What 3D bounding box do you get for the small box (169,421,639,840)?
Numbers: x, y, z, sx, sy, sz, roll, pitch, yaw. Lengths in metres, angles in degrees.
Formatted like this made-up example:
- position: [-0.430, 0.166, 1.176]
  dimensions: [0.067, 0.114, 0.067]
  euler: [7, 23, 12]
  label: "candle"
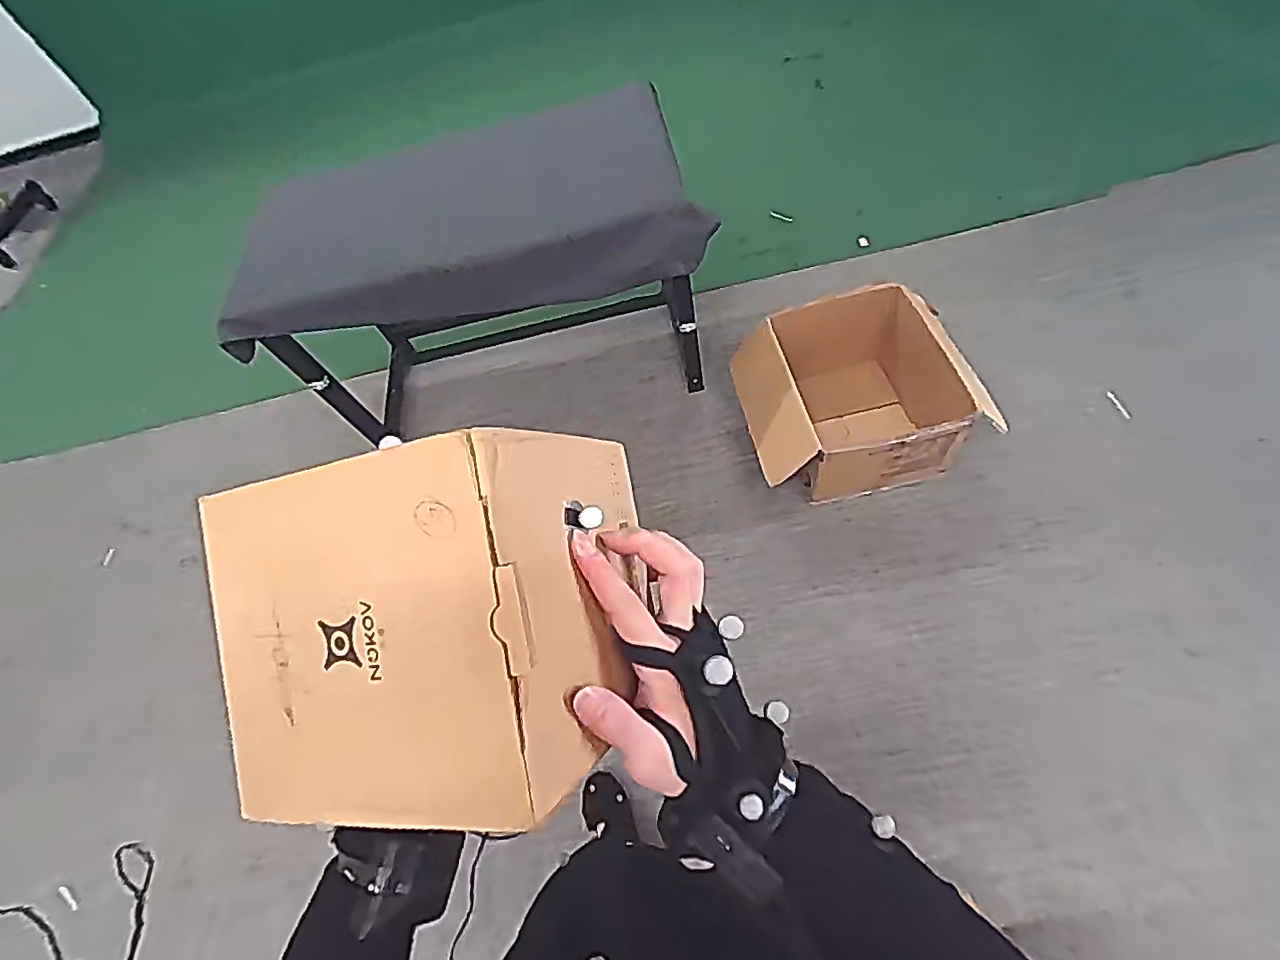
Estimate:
- position: [-0.111, 0.069, 0.309]
  dimensions: [0.179, 0.176, 0.168]
  euler: [-12, 86, 21]
  label: "small box"
